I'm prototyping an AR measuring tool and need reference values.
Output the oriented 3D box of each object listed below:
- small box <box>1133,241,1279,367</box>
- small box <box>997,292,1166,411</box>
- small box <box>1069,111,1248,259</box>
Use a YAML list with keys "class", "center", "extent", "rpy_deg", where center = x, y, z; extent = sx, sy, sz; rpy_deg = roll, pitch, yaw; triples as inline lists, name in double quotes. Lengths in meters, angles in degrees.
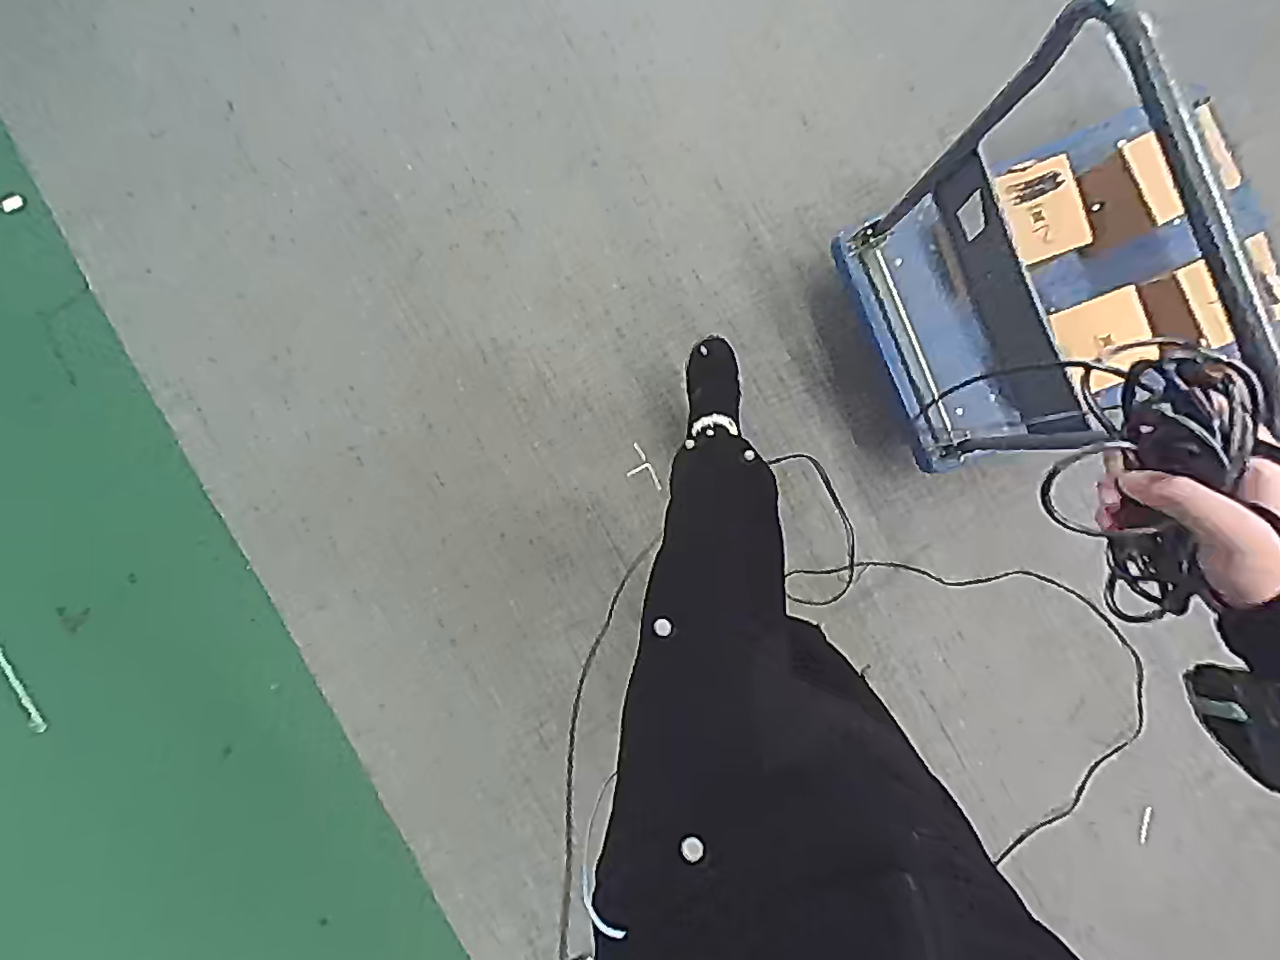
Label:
- class: "small box"
  center: [1.112, -0.337, 1.079]
  extent: [0.179, 0.176, 0.168]
  rpy_deg: [-24, 90, 1]
- class: "small box"
  center: [0.871, -0.249, 1.084]
  extent: [0.179, 0.176, 0.168]
  rpy_deg: [-21, 91, 1]
- class: "small box"
  center: [1.010, -0.573, 1.077]
  extent: [0.179, 0.176, 0.168]
  rpy_deg: [-25, 91, 0]
